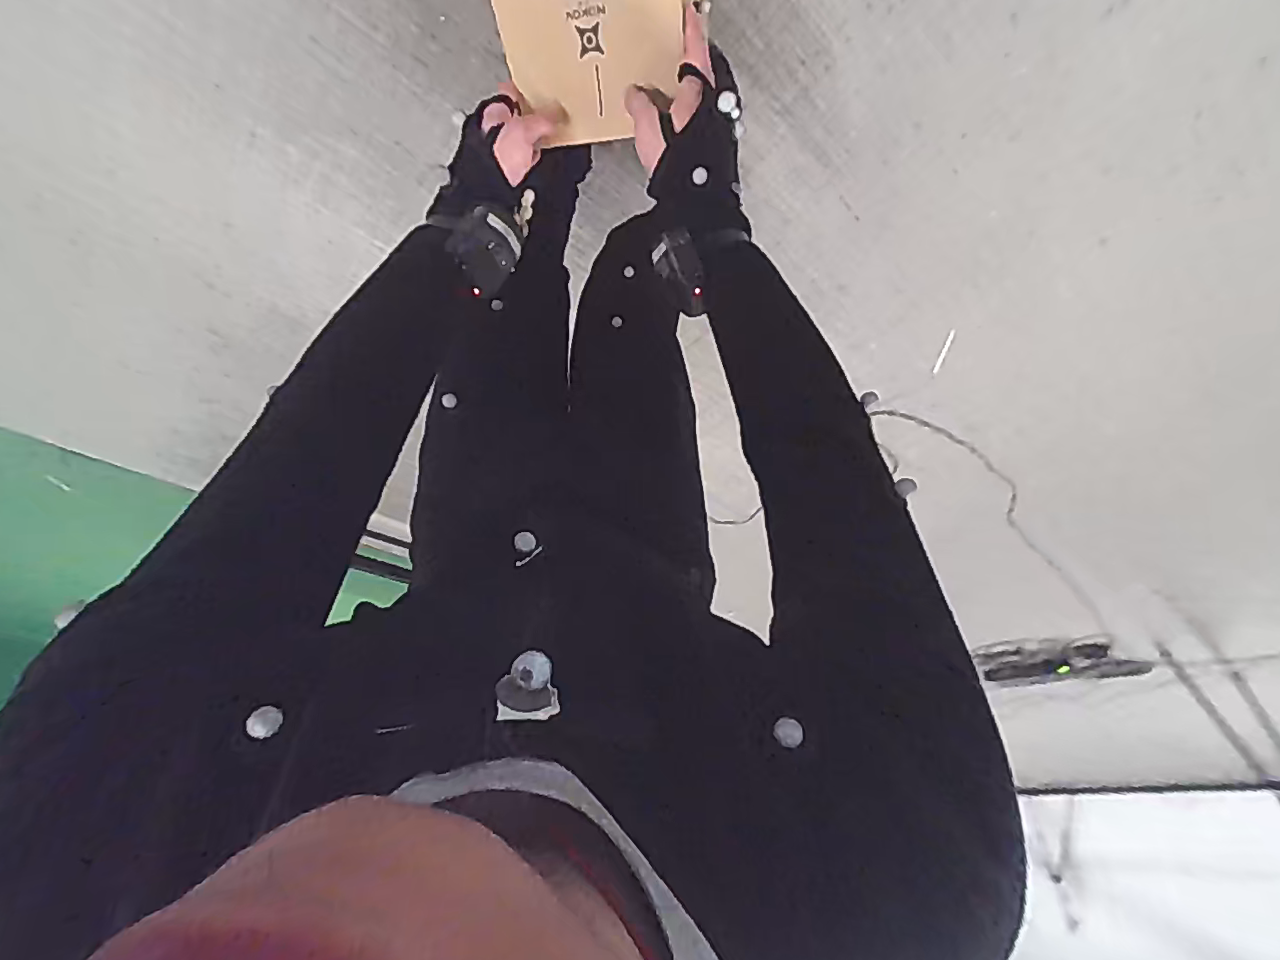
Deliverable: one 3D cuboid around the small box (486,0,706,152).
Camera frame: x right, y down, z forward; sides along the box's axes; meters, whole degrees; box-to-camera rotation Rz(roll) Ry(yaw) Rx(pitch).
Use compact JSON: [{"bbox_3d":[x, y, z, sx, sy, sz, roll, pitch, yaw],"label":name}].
[{"bbox_3d":[-0.031,-0.436,0.505,0.168,0.176,0.179,2,137,14],"label":"small box"}]
